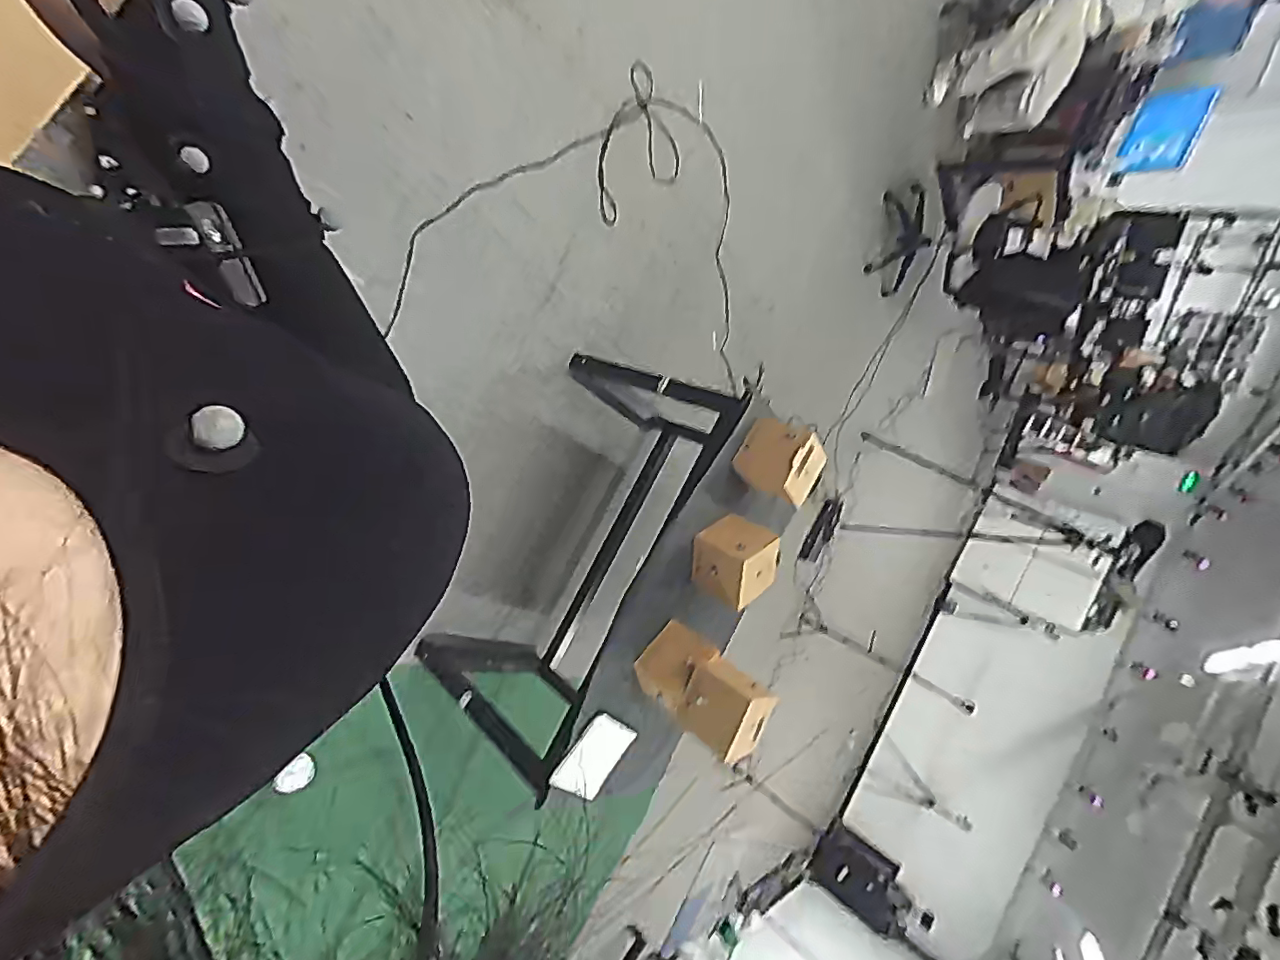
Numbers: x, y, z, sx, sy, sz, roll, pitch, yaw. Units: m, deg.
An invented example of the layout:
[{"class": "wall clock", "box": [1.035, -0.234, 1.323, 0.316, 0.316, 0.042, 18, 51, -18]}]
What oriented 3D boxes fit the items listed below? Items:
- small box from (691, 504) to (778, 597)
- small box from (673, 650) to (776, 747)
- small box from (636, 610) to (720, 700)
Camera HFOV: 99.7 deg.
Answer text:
[{"class": "small box", "box": [0.259, 0.191, 1.511, 0.179, 0.176, 0.168, -26, 129, -39]}, {"class": "small box", "box": [0.216, 0.551, 1.391, 0.179, 0.176, 0.168, 24, 90, -52]}, {"class": "small box", "box": [0.107, 0.500, 1.503, 0.179, 0.176, 0.168, -44, 138, -26]}]
